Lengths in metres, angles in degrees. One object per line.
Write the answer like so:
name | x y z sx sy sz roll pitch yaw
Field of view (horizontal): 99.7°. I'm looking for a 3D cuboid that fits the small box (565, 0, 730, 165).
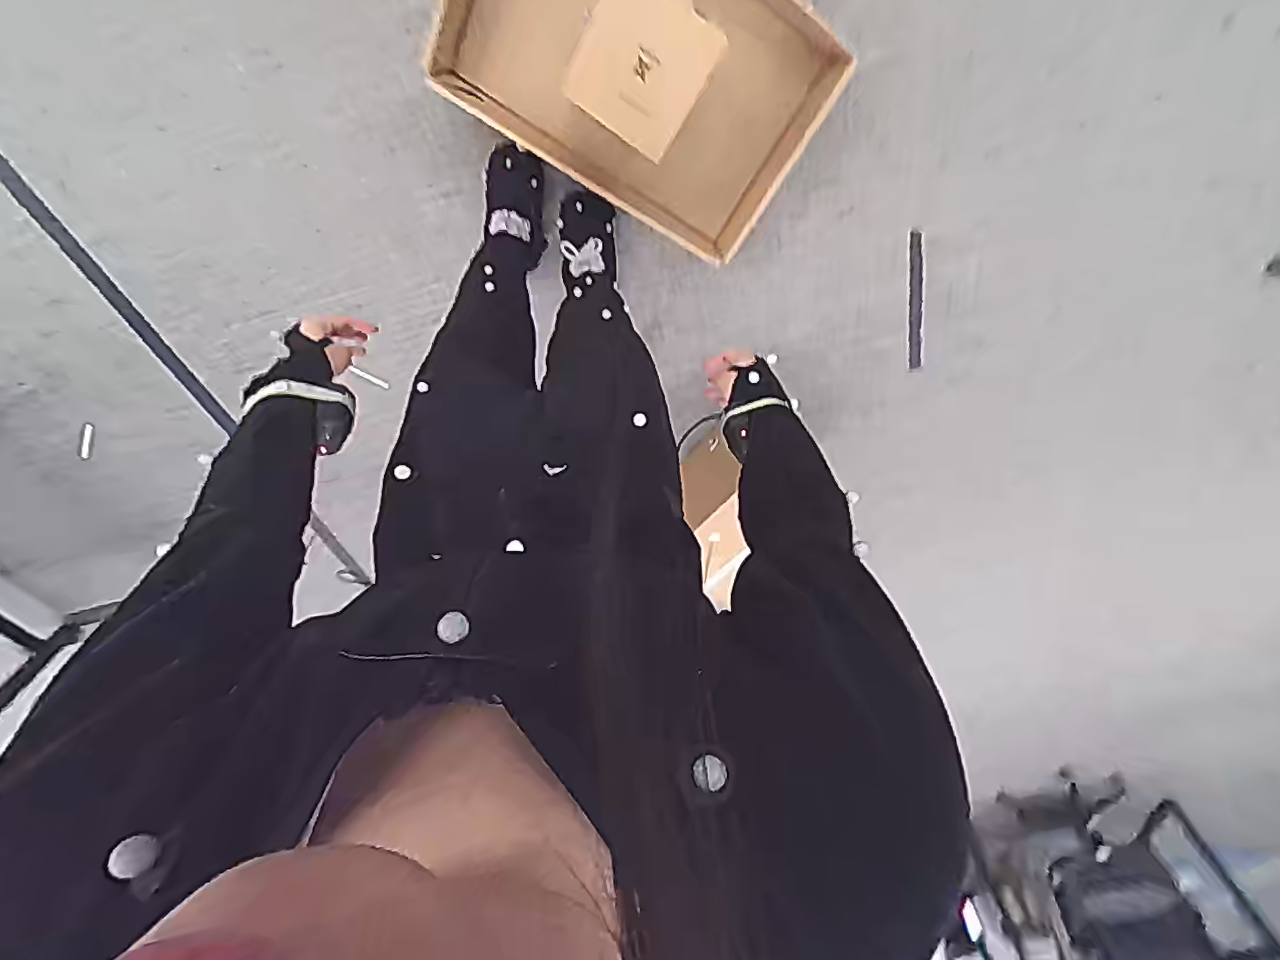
small box | 0.005 -0.610 0.798 0.168 0.176 0.179 27 123 -20
